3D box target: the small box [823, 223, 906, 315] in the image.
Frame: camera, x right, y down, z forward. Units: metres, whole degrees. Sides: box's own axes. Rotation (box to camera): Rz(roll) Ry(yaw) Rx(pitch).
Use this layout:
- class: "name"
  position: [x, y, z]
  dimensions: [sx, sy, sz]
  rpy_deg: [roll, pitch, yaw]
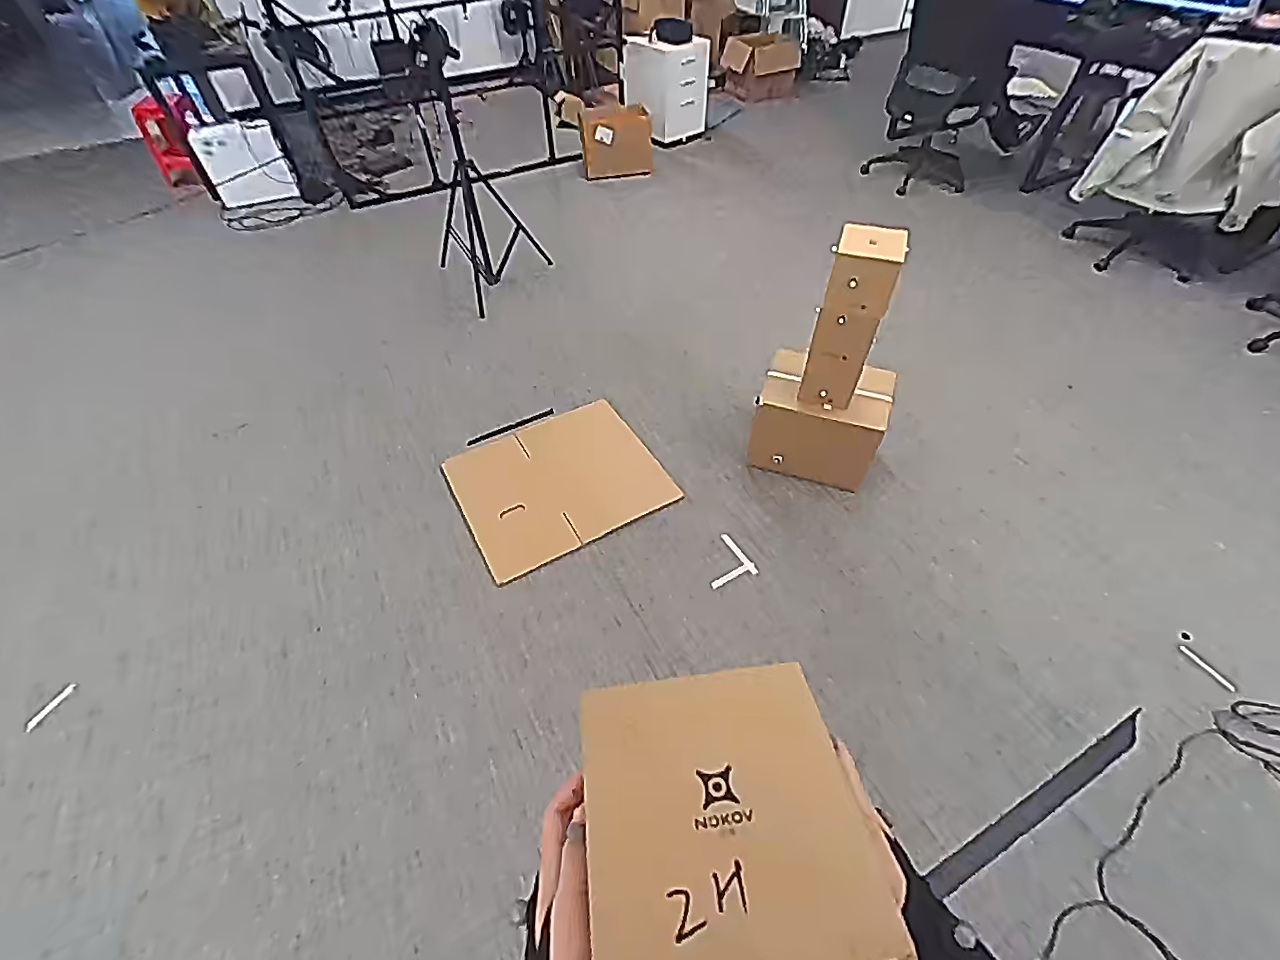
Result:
- class: "small box"
  position: [0.608, -0.573, 1.477]
  dimensions: [0.168, 0.176, 0.179]
  rpy_deg: [15, 51, 14]

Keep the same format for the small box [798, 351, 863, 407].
- class: "small box"
  position: [0.612, -0.362, 1.726]
  dimensions: [0.168, 0.176, 0.179]
  rpy_deg: [15, 52, 14]

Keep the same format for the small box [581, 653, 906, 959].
- class: "small box"
  position: [0.049, 0.254, 0.383]
  dimensions: [0.168, 0.176, 0.179]
  rpy_deg: [-7, 39, -3]

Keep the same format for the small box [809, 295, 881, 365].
- class: "small box"
  position: [0.610, -0.470, 1.603]
  dimensions: [0.168, 0.176, 0.179]
  rpy_deg: [15, 51, 14]
